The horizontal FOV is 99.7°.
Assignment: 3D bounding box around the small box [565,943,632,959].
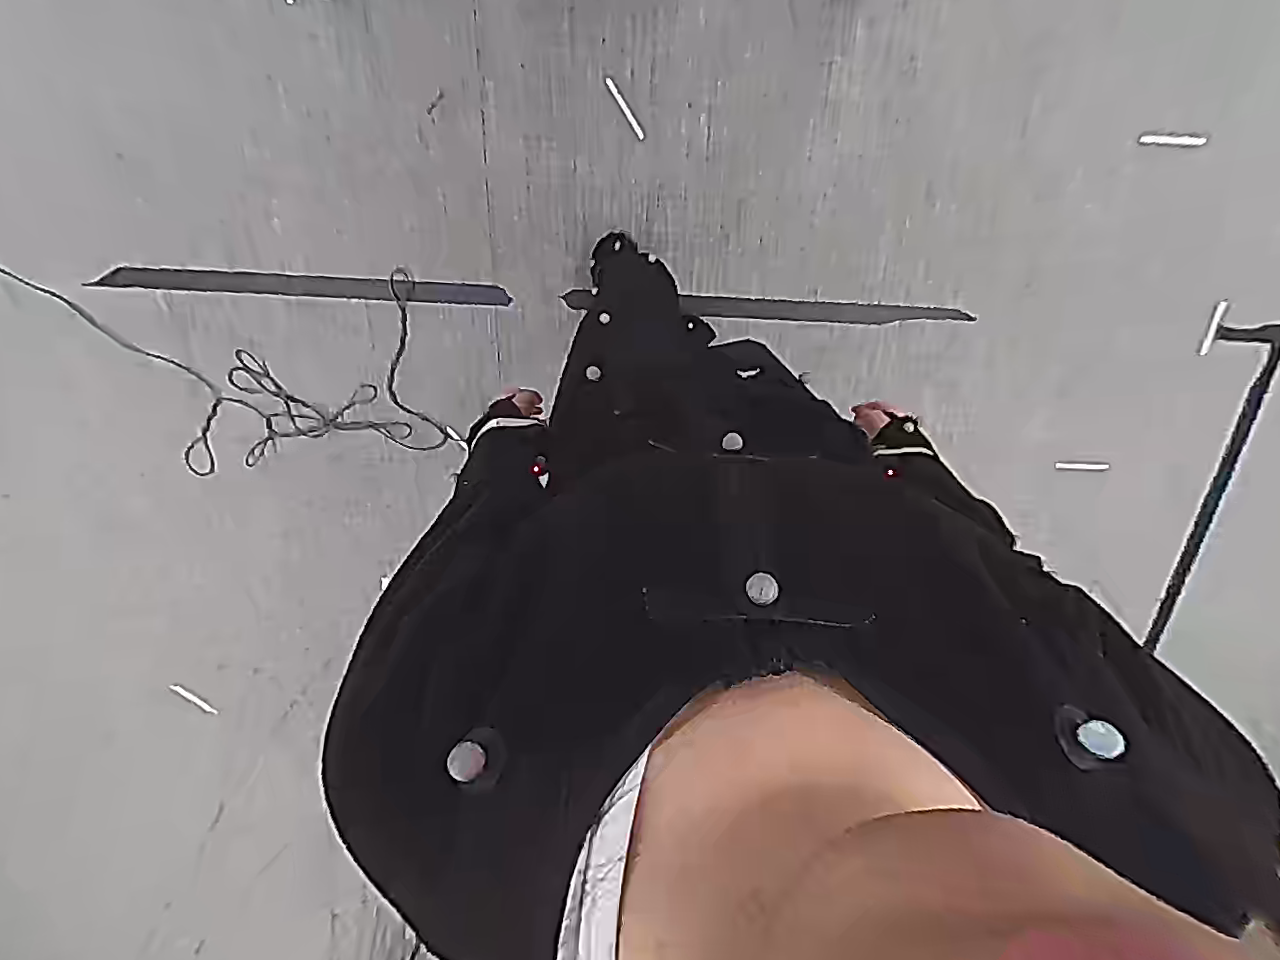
[{"bbox_3d":[-0.106,1.239,1.275,0.168,0.176,0.179,6,111,-3],"label":"small box"}]
